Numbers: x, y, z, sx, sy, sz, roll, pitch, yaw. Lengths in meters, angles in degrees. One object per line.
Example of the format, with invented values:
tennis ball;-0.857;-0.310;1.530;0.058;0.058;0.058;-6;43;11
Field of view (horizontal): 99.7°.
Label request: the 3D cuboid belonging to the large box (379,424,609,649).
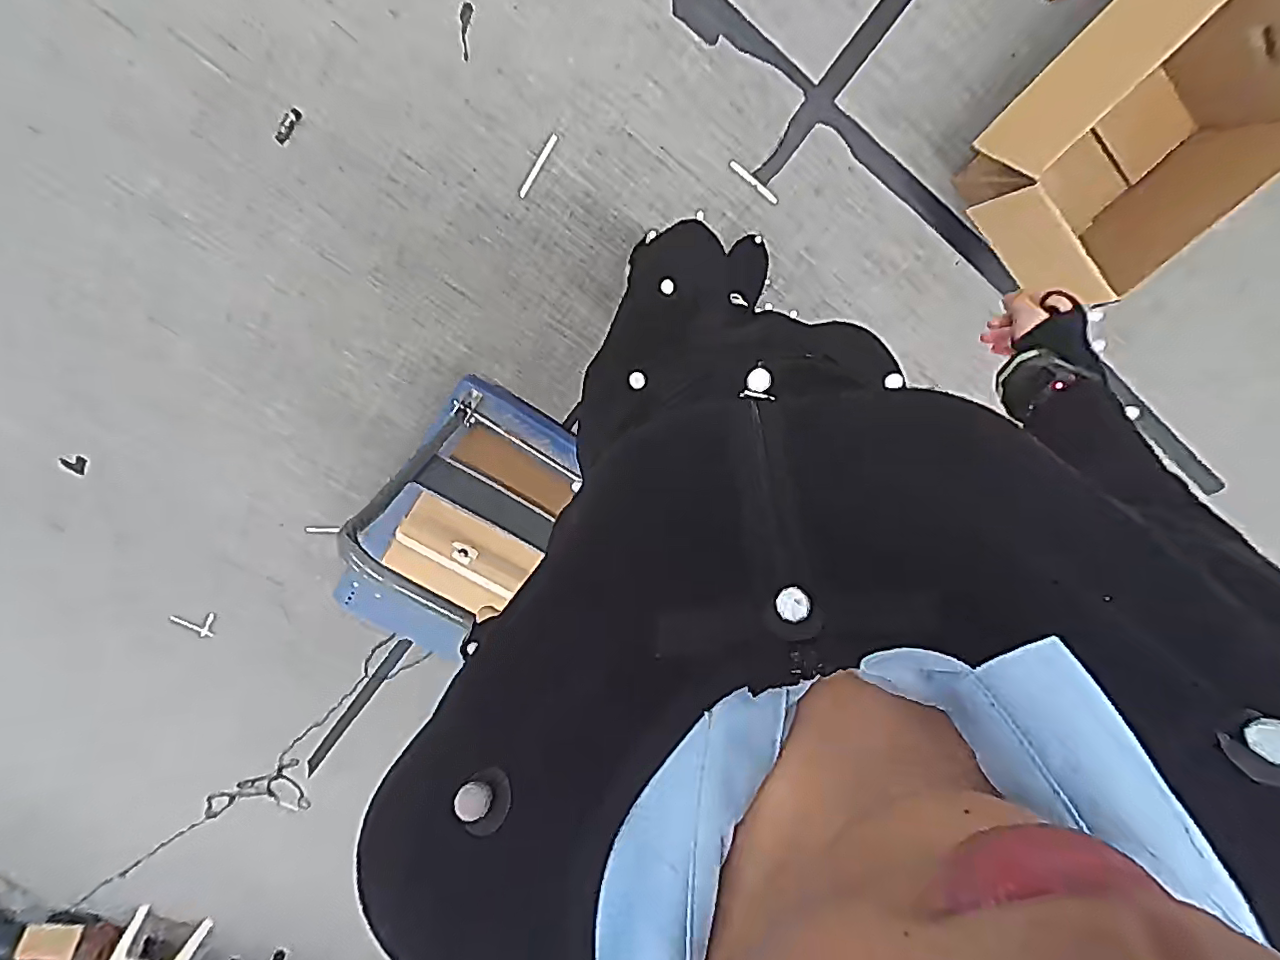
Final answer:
large box;-0.334;0.133;1.331;0.408;0.320;0.320;33;114;-14
